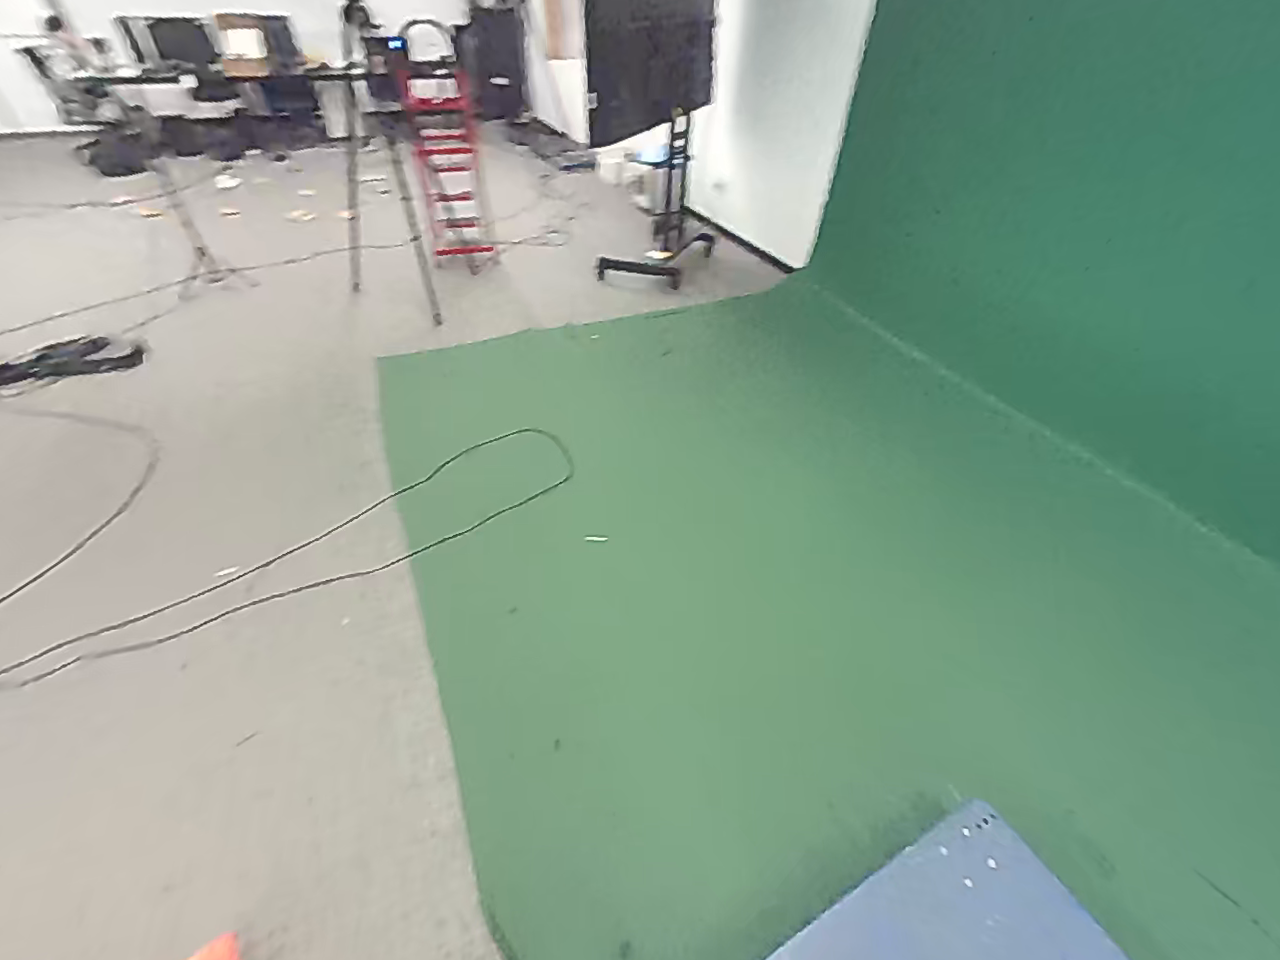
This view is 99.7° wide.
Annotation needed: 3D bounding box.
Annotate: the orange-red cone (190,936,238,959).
[{"bbox_3d":[-0.940,0.991,1.018,0.198,0.360,0.199,-28,49,-30],"label":"orange-red cone"}]
